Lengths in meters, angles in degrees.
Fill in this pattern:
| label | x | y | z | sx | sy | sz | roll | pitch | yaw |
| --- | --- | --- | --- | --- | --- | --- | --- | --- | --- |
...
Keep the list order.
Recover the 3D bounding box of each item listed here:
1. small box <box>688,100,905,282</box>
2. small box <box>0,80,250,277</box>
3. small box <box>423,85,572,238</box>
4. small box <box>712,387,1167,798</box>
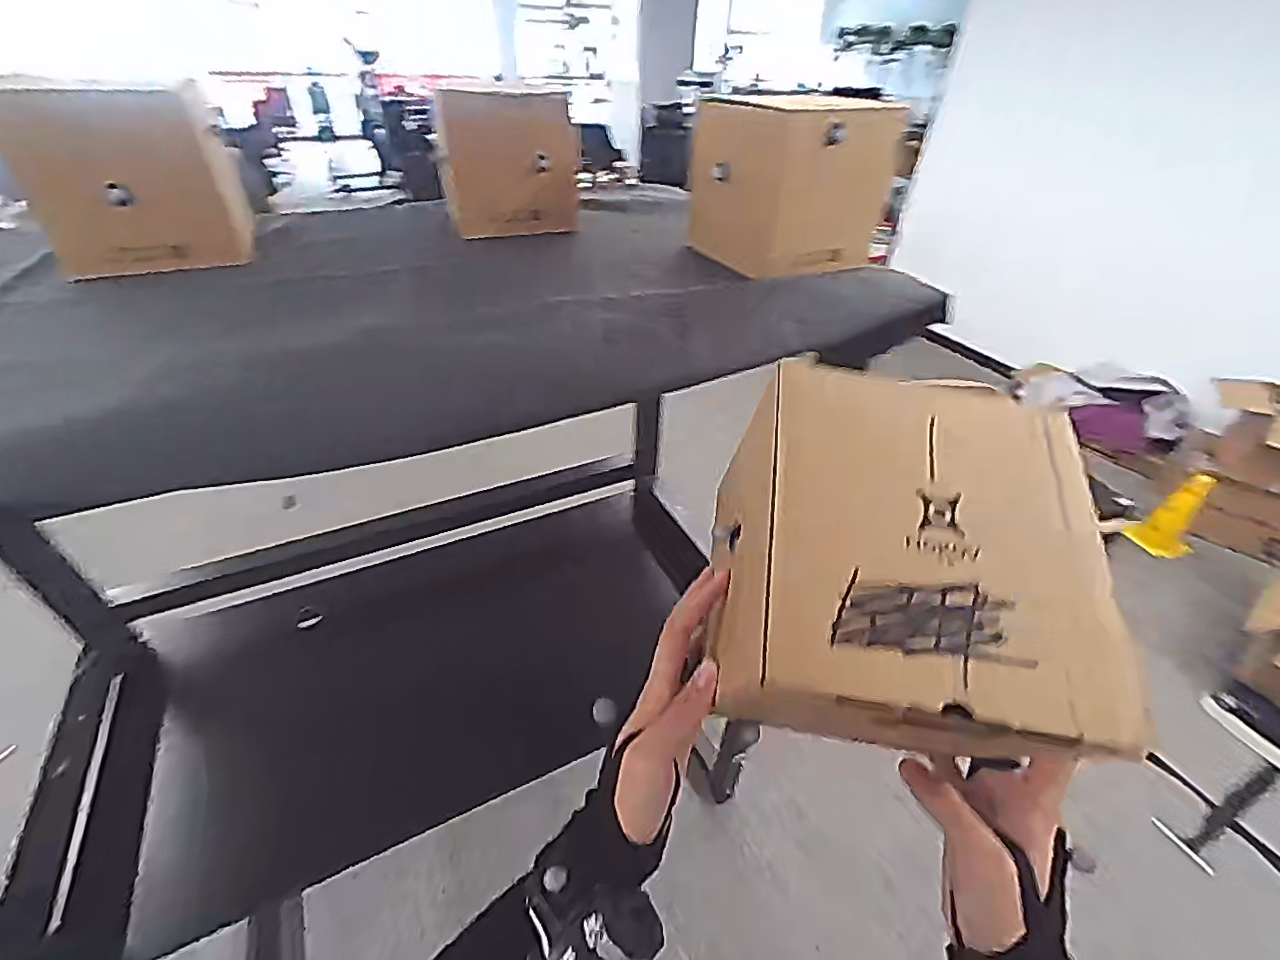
| label | x | y | z | sx | sy | sz | roll | pitch | yaw |
| --- | --- | --- | --- | --- | --- | --- | --- | --- | --- |
| small box | 0.169 | -0.350 | 0.649 | 0.168 | 0.176 | 0.179 | -17 | 41 | -21 |
| small box | -0.560 | -0.333 | 0.598 | 0.168 | 0.176 | 0.179 | -16 | 42 | -23 |
| small box | -0.196 | -0.446 | 0.759 | 0.168 | 0.176 | 0.179 | -12 | 40 | -18 |
| small box | 0.145 | 0.075 | 0.331 | 0.168 | 0.176 | 0.179 | 11 | 62 | 1 |
